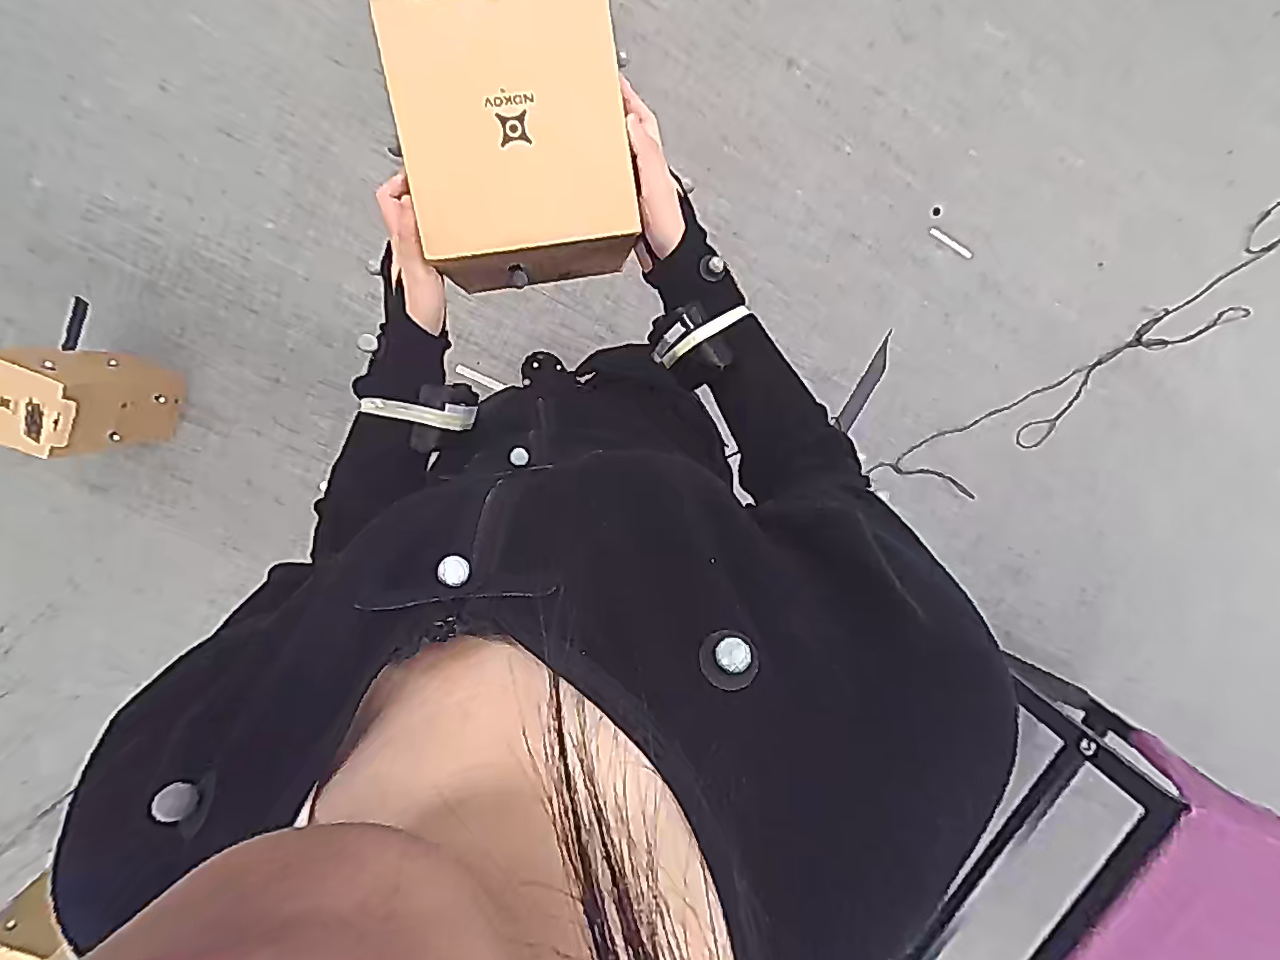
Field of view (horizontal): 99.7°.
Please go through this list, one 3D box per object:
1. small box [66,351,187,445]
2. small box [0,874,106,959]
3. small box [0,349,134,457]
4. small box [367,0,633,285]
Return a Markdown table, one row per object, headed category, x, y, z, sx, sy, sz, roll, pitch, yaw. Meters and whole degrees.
| category | x | y | z | sx | sy | sz | roll | pitch | yaw |
| --- | --- | --- | --- | --- | --- | --- | --- | --- | --- |
| small box | -1.239 | -0.200 | 1.286 | 0.179 | 0.176 | 0.168 | 22 | 100 | -8 |
| small box | -1.577 | 1.179 | 1.409 | 0.179 | 0.176 | 0.168 | 30 | 100 | -12 |
| small box | -1.222 | -0.168 | 1.125 | 0.179 | 0.176 | 0.168 | 23 | 100 | -9 |
| small box | -0.103 | -0.275 | 0.468 | 0.168 | 0.176 | 0.179 | -10 | 101 | -5 |
